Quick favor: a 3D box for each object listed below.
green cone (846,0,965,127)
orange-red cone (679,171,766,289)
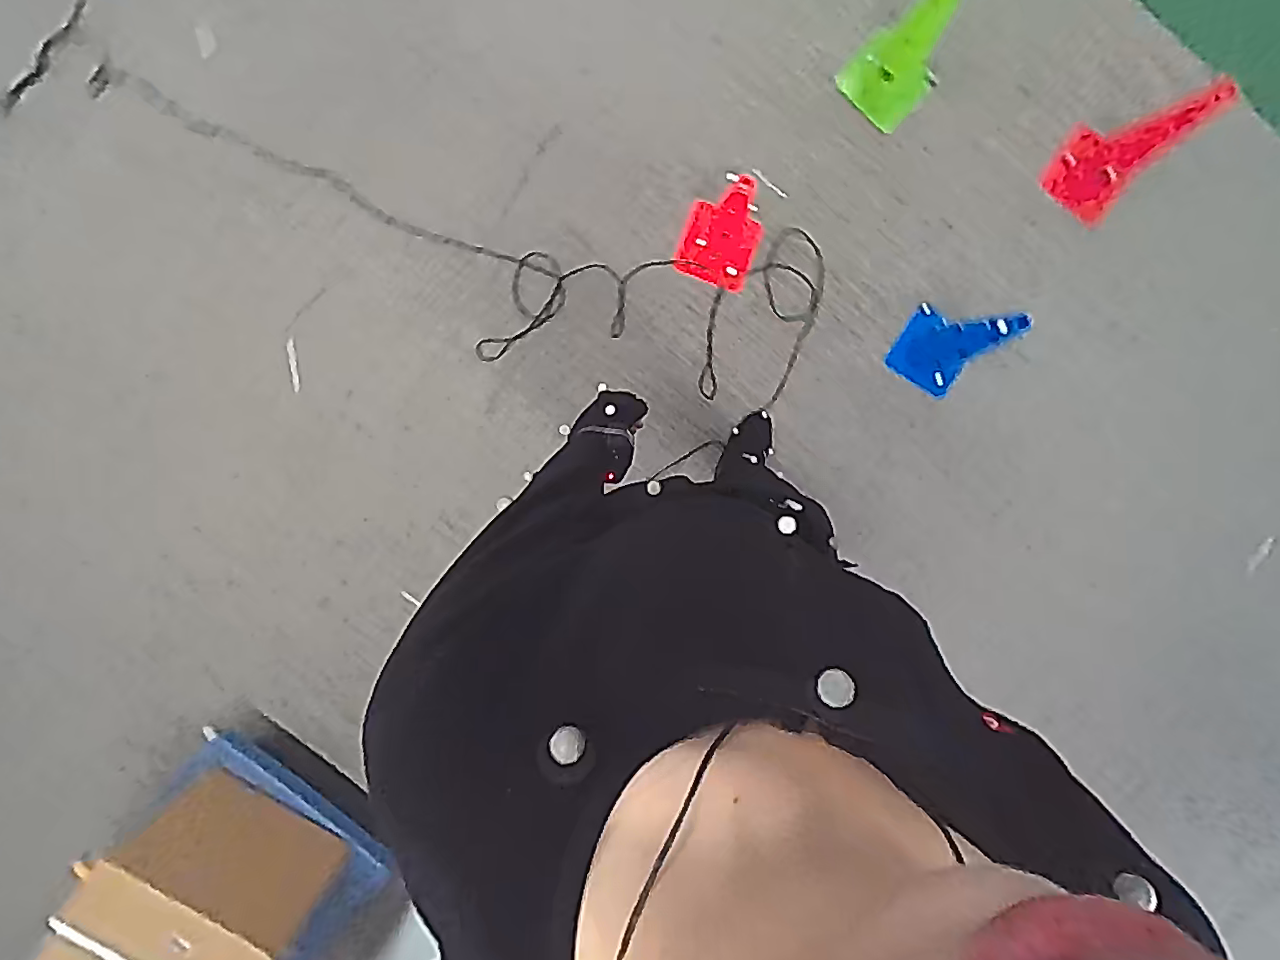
[{"bbox_3d":[0.675,-1.063,1.269,0.200,0.368,0.202,42,93,-2],"label":"green cone"},{"bbox_3d":[0.229,-0.631,1.293,0.198,0.360,0.199,21,91,-3],"label":"orange-red cone"}]
